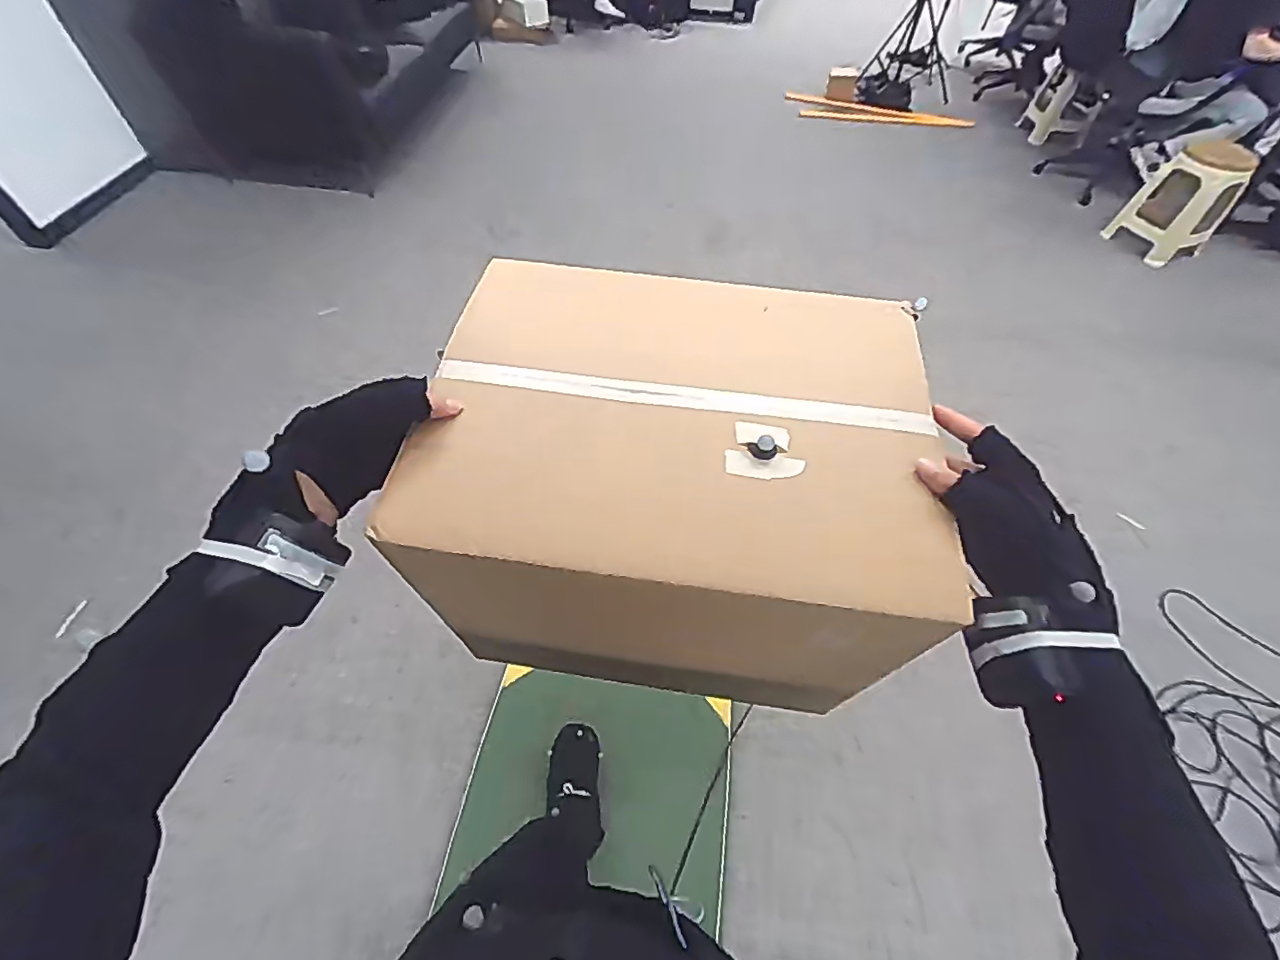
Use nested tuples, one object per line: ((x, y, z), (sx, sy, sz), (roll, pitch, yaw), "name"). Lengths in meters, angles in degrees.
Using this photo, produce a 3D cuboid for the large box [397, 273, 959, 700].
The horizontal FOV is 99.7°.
((0.034, 0.020, 0.579), (0.408, 0.320, 0.320), (8, 57, 3), "large box")
